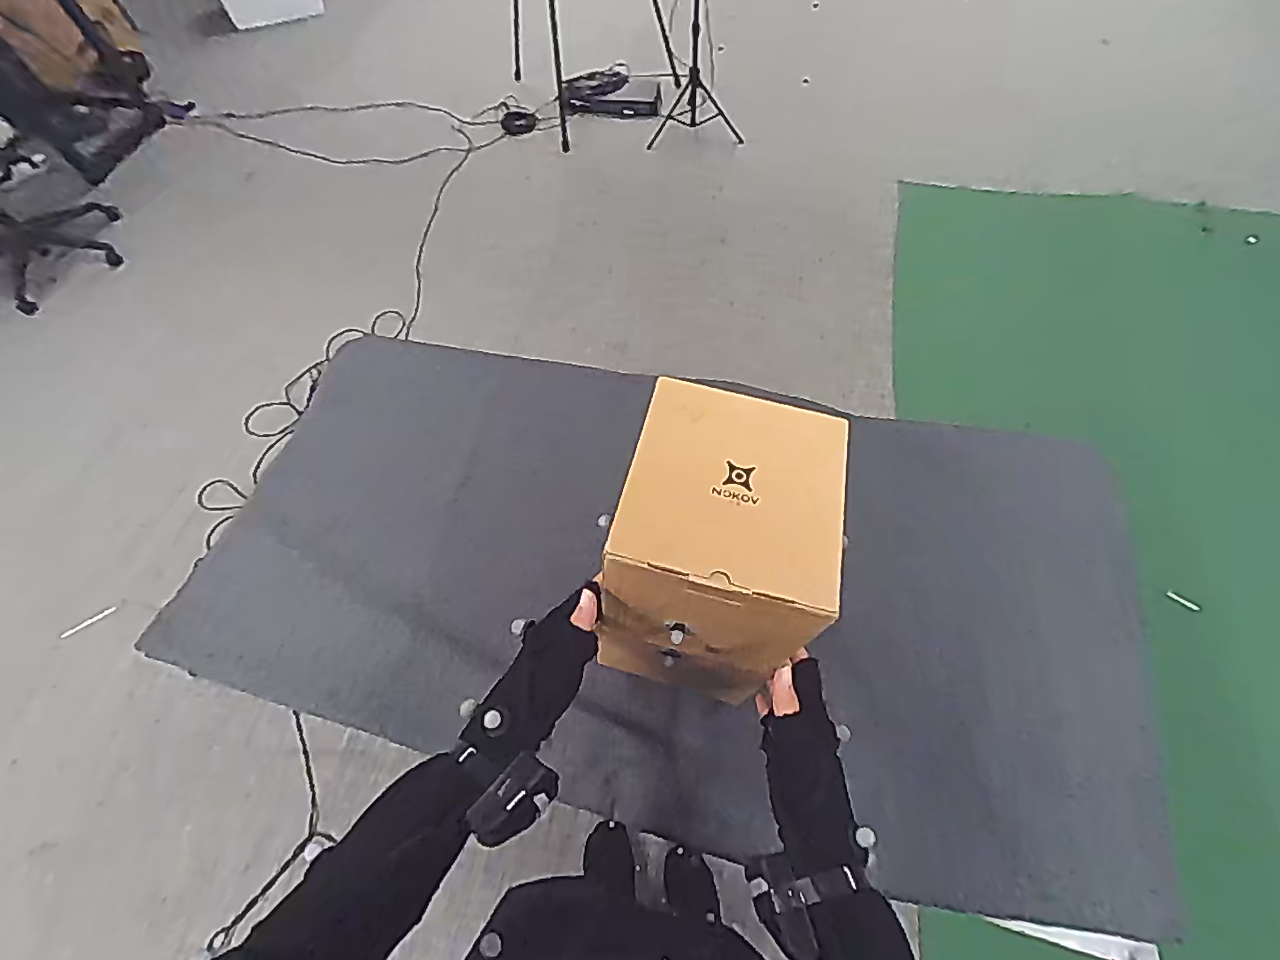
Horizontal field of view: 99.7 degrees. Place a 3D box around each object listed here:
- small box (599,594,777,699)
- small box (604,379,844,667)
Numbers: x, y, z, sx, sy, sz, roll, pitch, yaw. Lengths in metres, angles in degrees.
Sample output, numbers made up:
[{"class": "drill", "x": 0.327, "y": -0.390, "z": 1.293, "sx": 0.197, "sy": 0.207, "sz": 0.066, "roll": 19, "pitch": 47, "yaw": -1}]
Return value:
[{"class": "small box", "x": 0.058, "y": 0.134, "z": 0.616, "sx": 0.179, "sy": 0.176, "sz": 0.168, "roll": 16, "pitch": 58, "yaw": 4}, {"class": "small box", "x": 0.066, "y": 0.044, "z": 0.481, "sx": 0.168, "sy": 0.176, "sz": 0.179, "roll": 14, "pitch": 58, "yaw": 4}]
